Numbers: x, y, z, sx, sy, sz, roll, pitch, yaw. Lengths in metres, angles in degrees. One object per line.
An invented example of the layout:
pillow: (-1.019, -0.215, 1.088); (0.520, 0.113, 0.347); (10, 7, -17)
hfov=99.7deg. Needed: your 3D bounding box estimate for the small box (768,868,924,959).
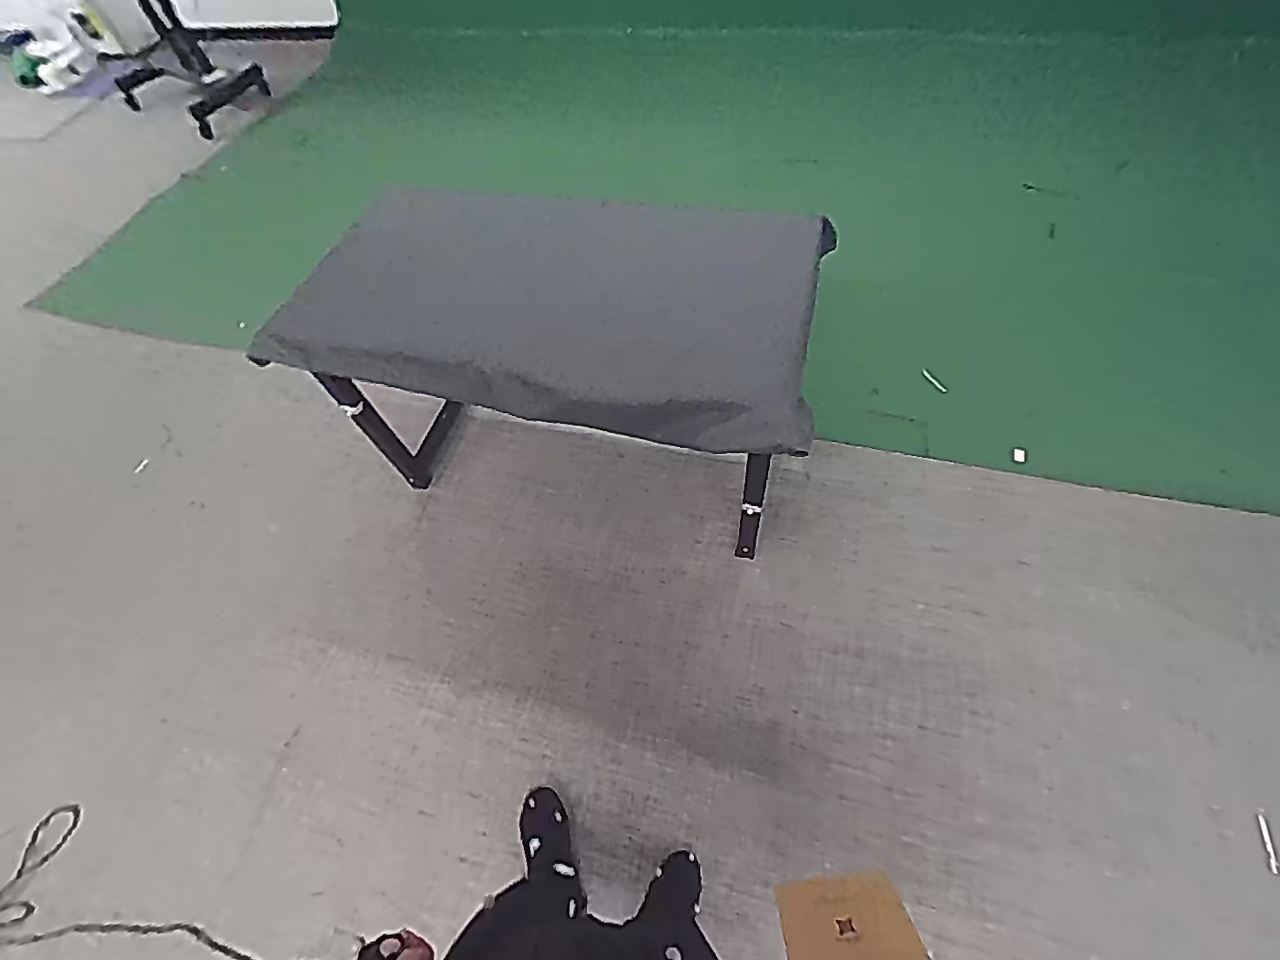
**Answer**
small box: (0.272, 0.650, 0.690); (0.168, 0.179, 0.176); (-11, 92, 5)
